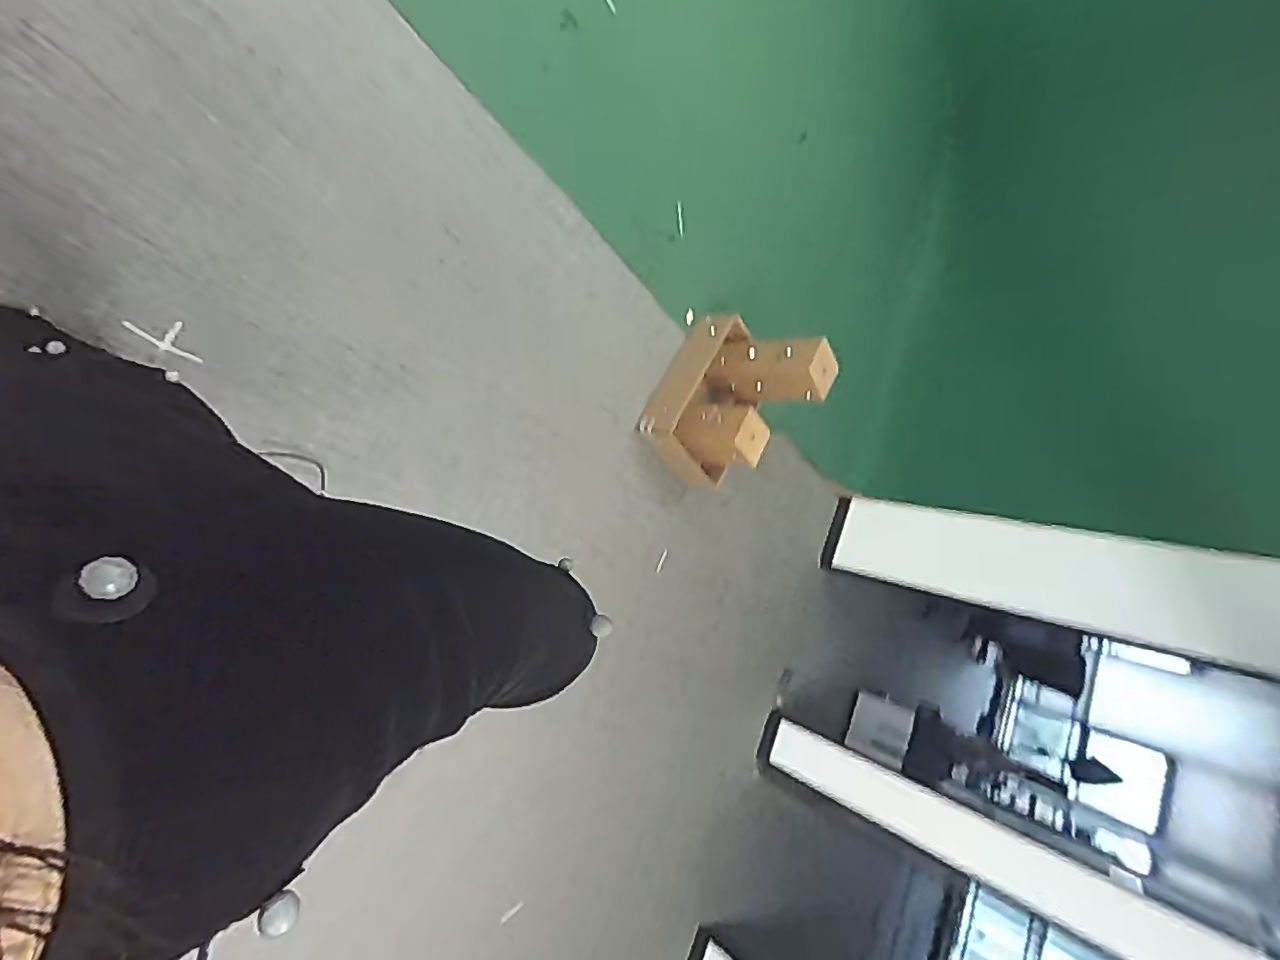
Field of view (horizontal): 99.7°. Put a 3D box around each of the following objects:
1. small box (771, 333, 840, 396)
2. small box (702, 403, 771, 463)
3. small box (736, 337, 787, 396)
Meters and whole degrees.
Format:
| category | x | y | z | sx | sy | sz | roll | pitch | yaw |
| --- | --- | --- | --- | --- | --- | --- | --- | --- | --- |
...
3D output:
| category | x | y | z | sx | sy | sz | roll | pitch | yaw |
| --- | --- | --- | --- | --- | --- | --- | --- | --- | --- |
| small box | 0.633 | -0.443 | 2.071 | 0.179 | 0.176 | 0.168 | 45 | 67 | -39 |
| small box | 0.374 | -0.187 | 2.092 | 0.179 | 0.176 | 0.168 | 42 | 68 | -39 |
| small box | 0.519 | -0.461 | 2.189 | 0.179 | 0.176 | 0.168 | 48 | 66 | -38 |
